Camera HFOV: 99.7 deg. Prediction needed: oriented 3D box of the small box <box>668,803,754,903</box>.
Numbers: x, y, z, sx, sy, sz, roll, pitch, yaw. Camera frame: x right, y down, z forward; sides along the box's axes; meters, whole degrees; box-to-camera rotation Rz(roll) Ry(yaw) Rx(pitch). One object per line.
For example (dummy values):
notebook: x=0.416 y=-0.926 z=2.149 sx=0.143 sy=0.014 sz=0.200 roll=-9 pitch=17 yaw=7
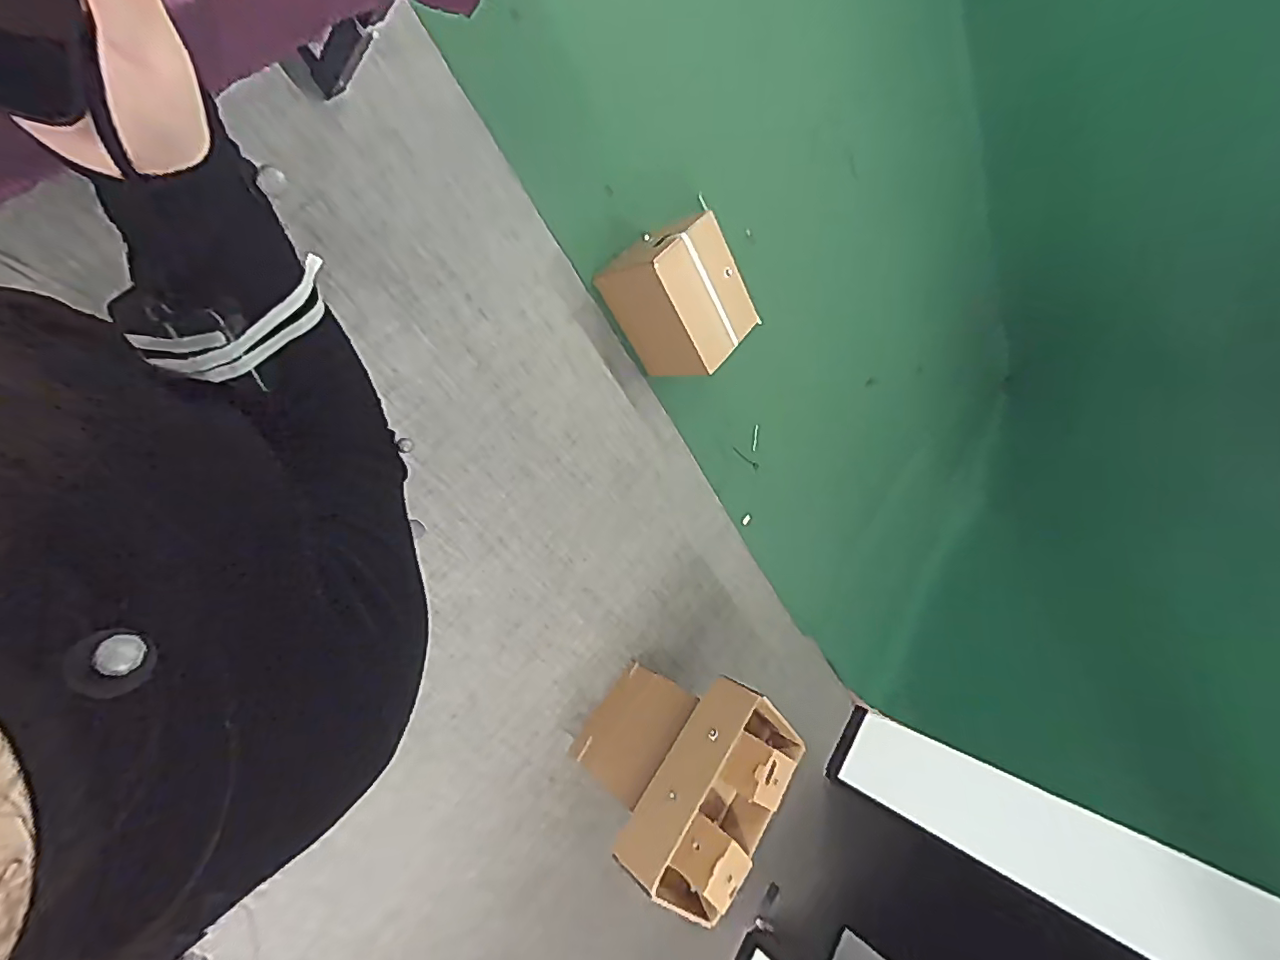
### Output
small box: x=0.216 y=1.142 z=1.670 sx=0.168 sy=0.176 sz=0.179 roll=-45 pitch=122 yaw=-25
